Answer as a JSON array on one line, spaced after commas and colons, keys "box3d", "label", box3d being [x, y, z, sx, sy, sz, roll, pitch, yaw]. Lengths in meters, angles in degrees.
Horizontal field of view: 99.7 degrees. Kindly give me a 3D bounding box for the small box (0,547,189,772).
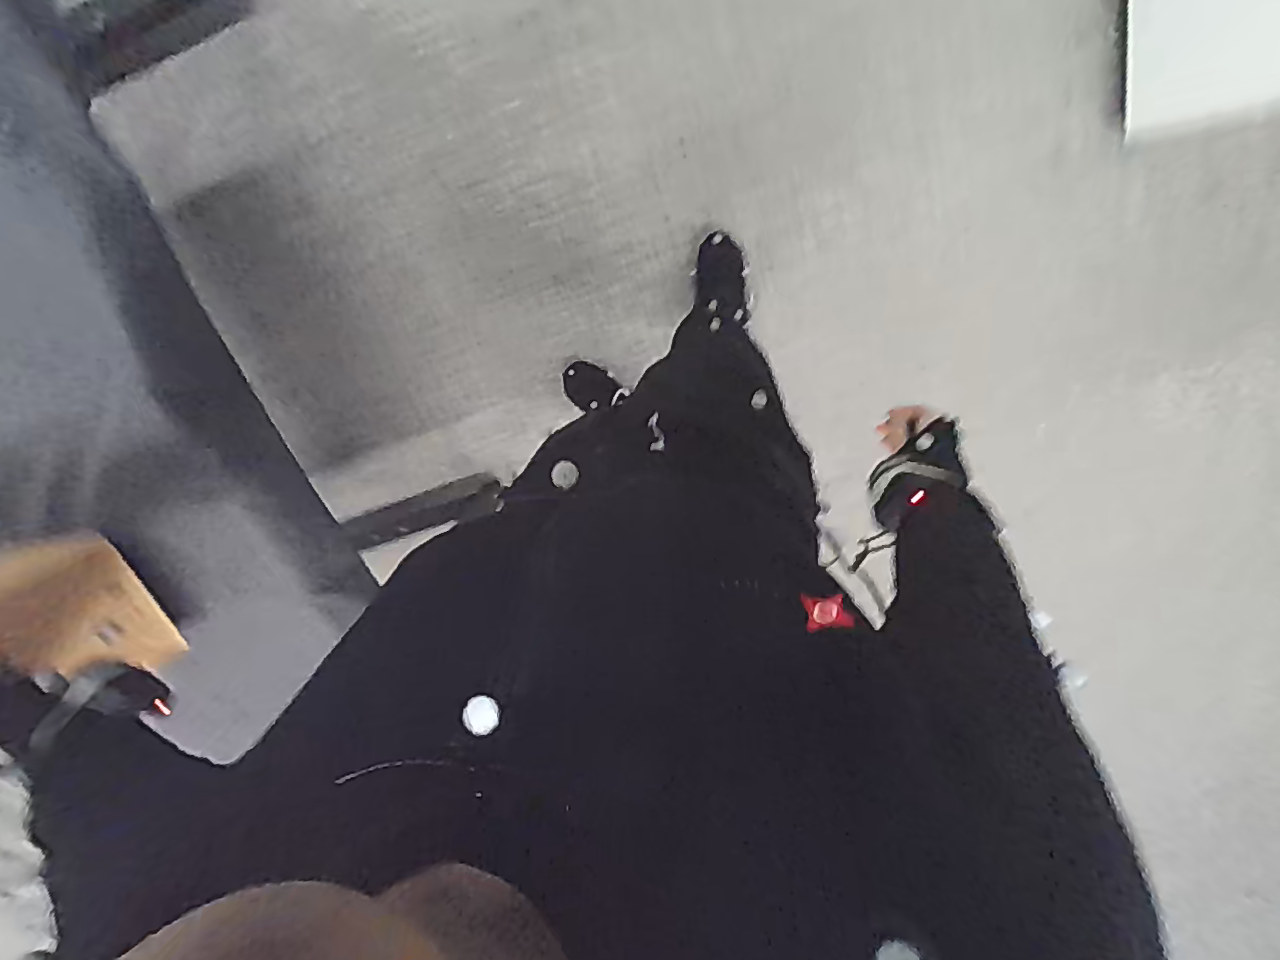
[{"box3d": [-0.671, 0.190, 0.600, 0.179, 0.176, 0.168, -7, 114, 17], "label": "small box"}]
